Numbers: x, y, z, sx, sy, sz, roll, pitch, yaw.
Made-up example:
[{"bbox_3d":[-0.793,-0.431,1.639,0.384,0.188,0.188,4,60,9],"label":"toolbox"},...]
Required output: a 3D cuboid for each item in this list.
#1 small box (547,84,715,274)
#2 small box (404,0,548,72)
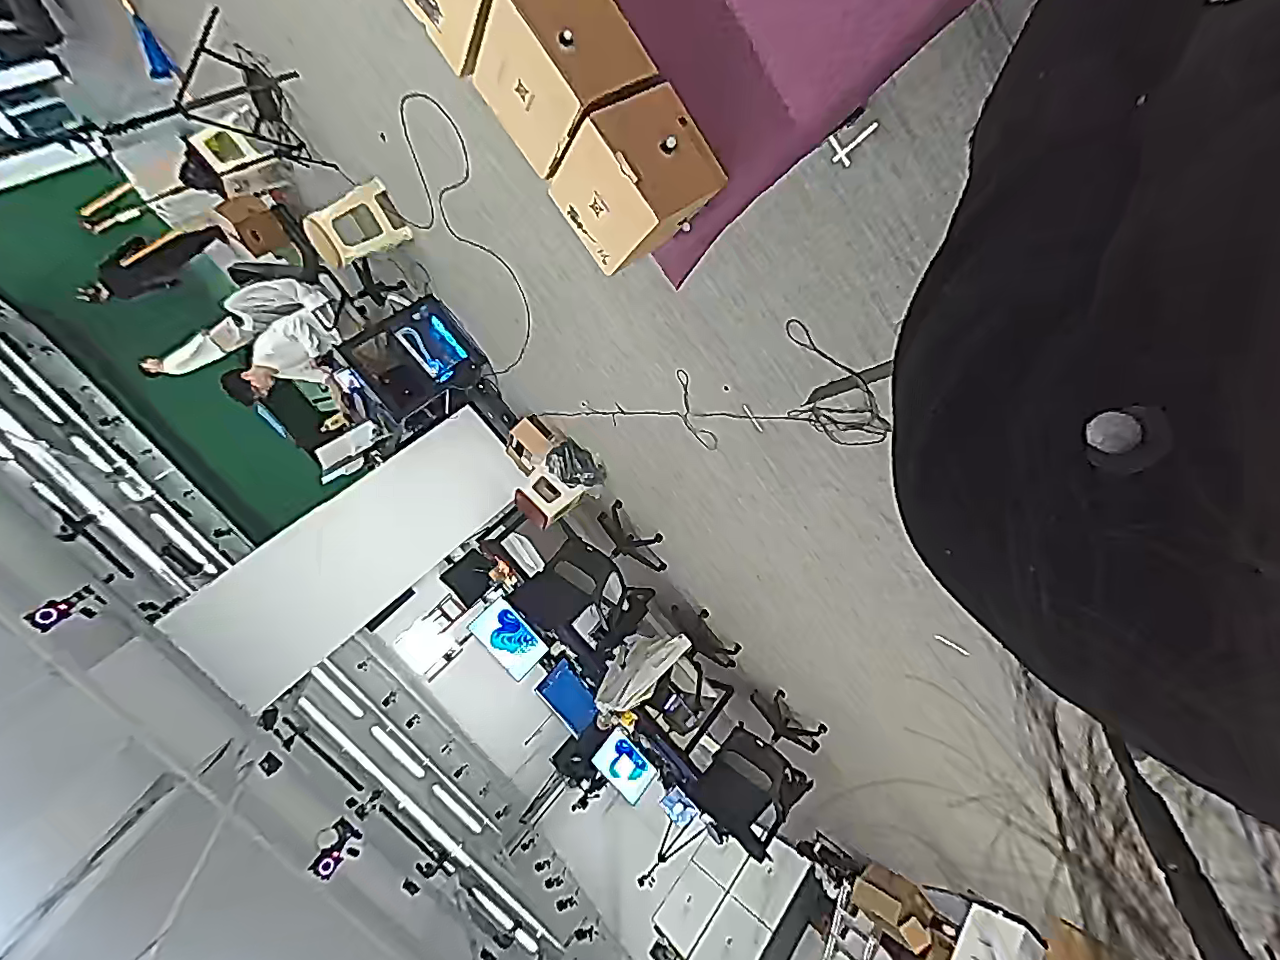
[{"bbox_3d":[-0.008,-0.463,0.838,0.168,0.176,0.179,53,152,-12],"label":"small box"},{"bbox_3d":[-0.234,-0.743,0.768,0.168,0.176,0.179,51,152,-14],"label":"small box"}]
